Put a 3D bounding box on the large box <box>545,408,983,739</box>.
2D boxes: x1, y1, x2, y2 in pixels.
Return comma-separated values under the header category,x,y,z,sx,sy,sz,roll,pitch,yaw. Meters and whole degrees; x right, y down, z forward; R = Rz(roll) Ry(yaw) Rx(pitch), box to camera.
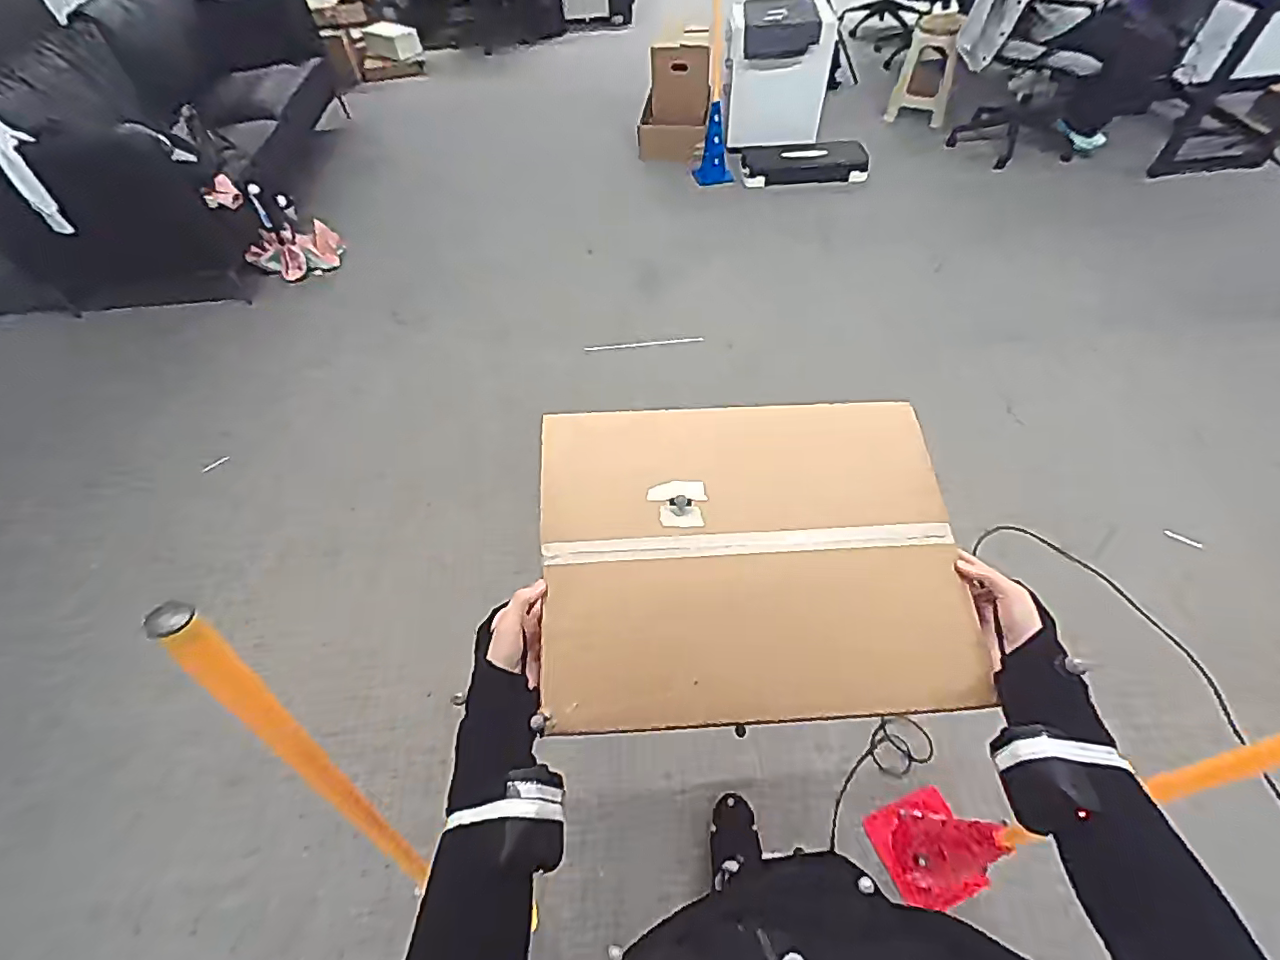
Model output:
category,x,y,z,sx,sy,sz,roll,pitch,yaw
large box,0.106,0.131,0.677,0.408,0.320,0.320,-4,66,-2
